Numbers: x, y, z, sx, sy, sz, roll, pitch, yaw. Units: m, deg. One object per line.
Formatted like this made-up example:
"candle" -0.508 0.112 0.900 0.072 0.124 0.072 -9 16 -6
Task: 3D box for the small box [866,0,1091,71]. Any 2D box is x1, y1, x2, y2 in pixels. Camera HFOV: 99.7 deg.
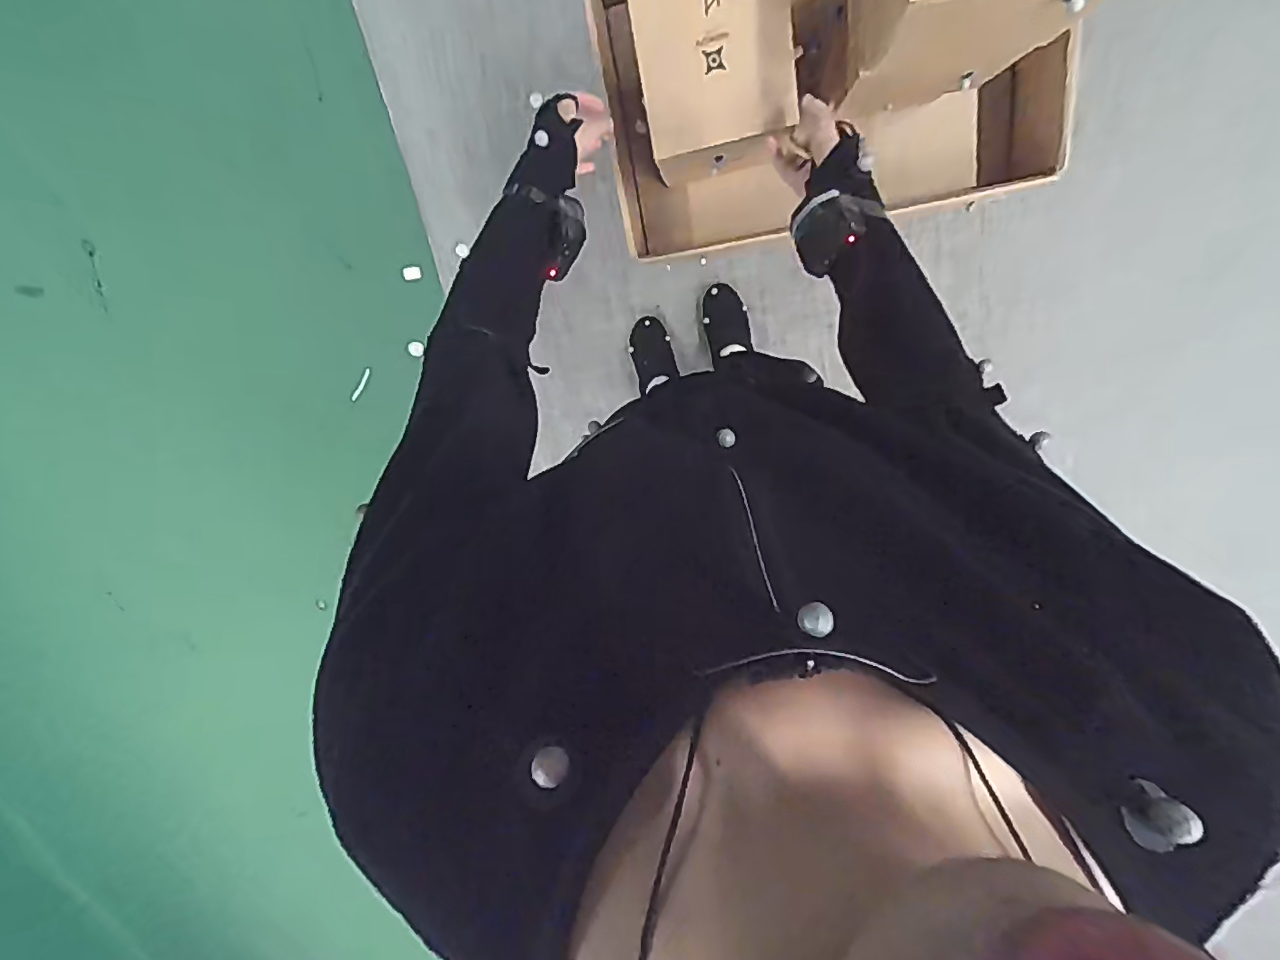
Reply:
"small box" 0.296 -0.473 0.449 0.179 0.176 0.168 -2 111 11

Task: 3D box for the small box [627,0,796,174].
"small box" 0.089 -0.484 0.651 0.168 0.176 0.179 -8 111 11
